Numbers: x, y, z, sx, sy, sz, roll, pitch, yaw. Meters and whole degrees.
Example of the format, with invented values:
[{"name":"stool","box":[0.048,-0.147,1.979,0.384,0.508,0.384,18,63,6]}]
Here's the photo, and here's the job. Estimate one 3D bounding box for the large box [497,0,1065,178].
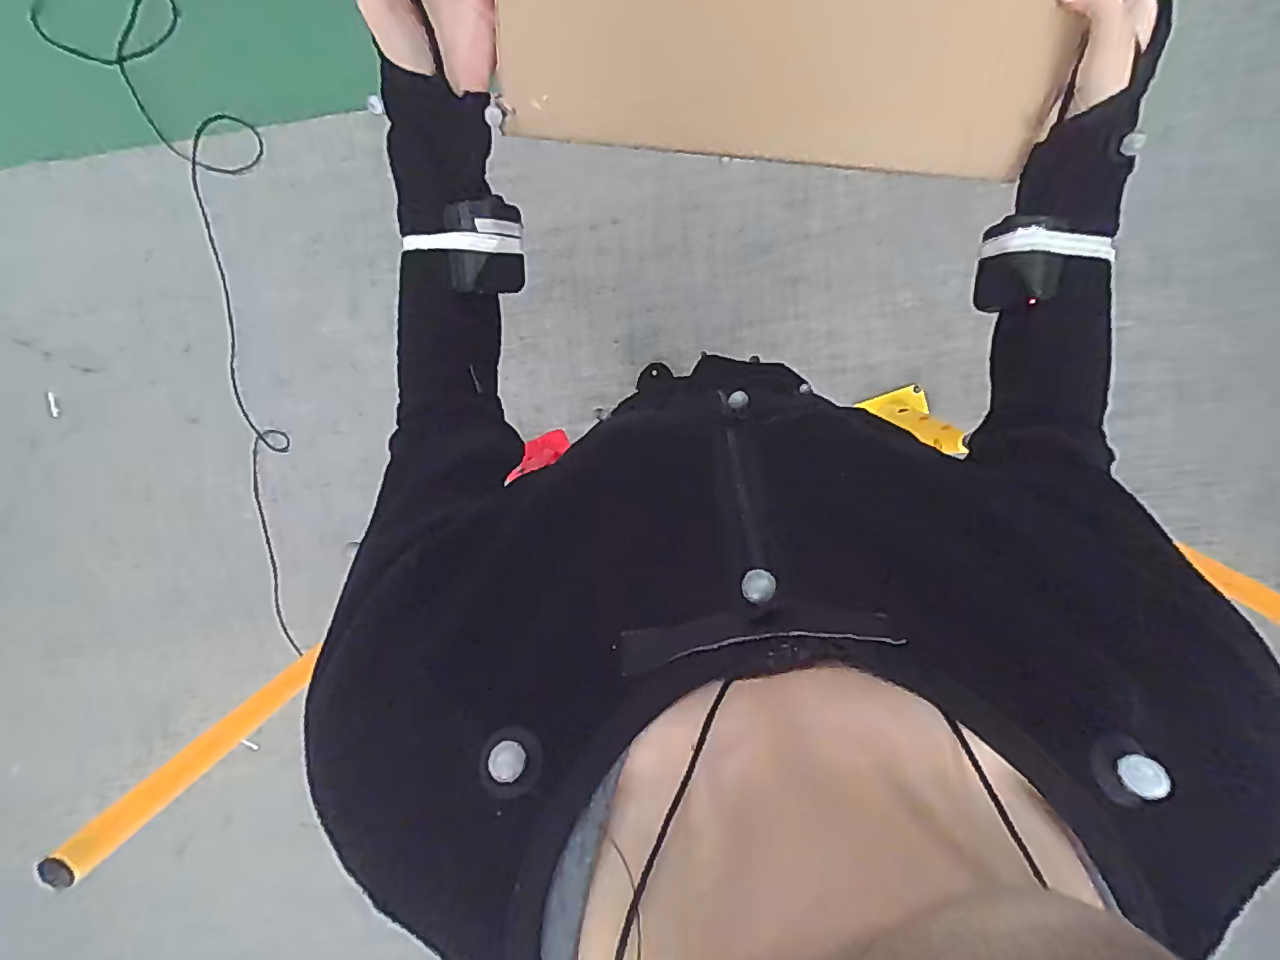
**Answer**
[{"name":"large box","box":[0.099,-0.463,0.460,0.408,0.320,0.320,2,124,-6]}]
